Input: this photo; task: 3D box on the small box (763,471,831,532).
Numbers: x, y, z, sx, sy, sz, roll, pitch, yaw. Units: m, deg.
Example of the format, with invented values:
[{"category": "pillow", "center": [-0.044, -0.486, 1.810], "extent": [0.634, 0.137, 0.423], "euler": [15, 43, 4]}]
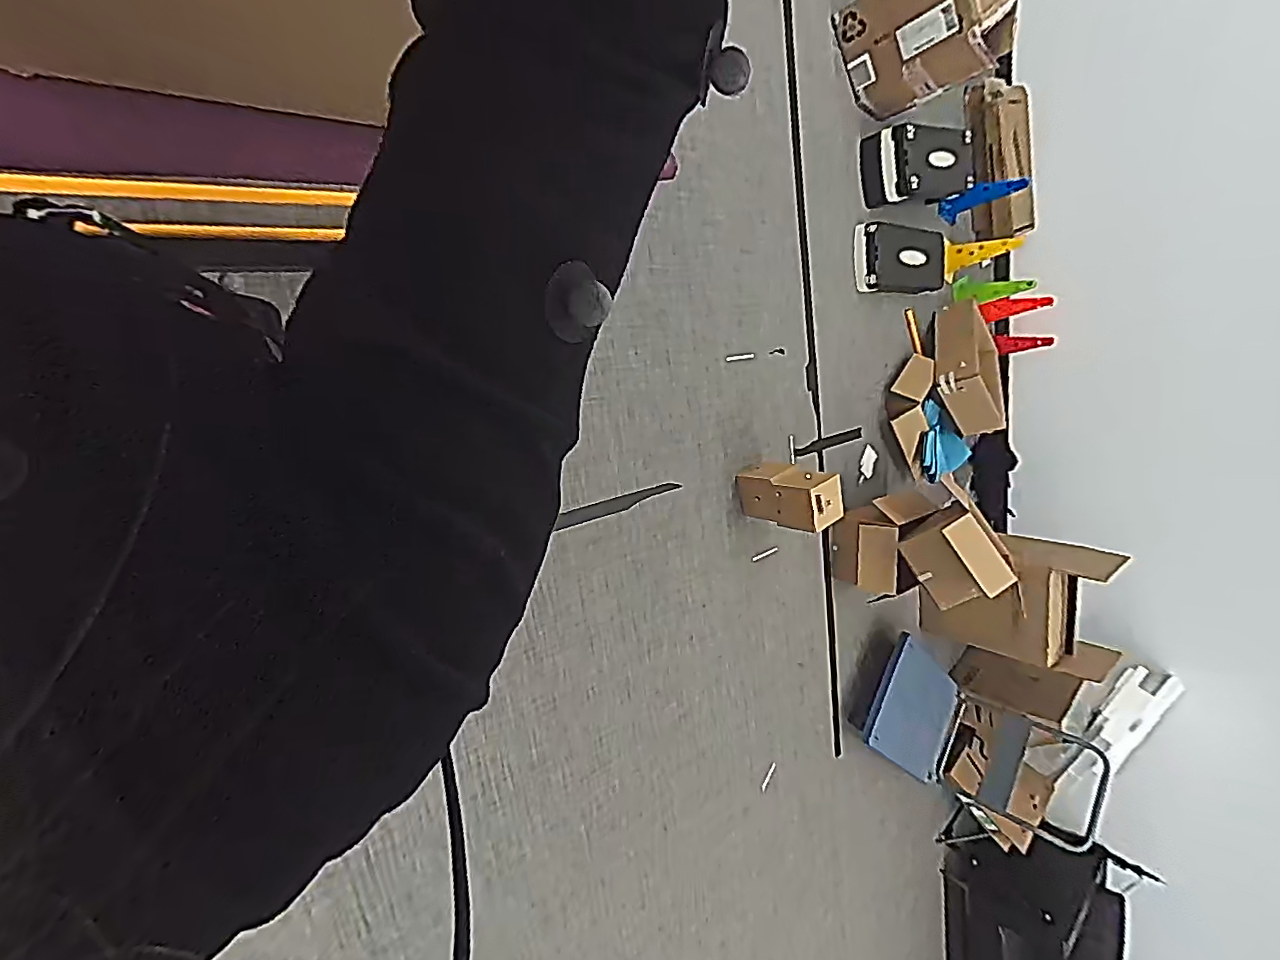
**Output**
[{"category": "small box", "center": [0.562, 0.073, 1.954], "extent": [0.179, 0.176, 0.168], "euler": [-23, 110, -35]}]
